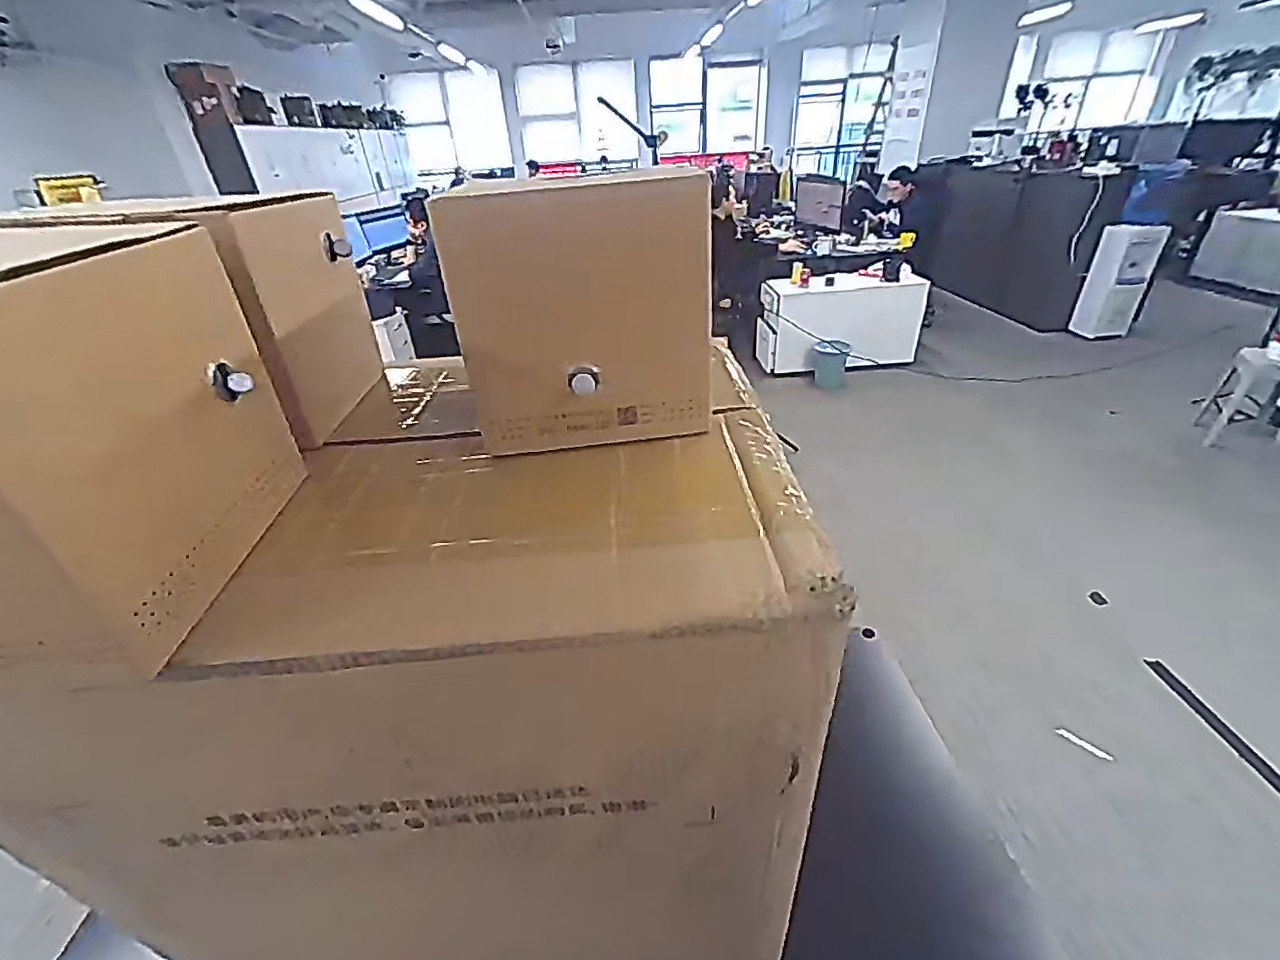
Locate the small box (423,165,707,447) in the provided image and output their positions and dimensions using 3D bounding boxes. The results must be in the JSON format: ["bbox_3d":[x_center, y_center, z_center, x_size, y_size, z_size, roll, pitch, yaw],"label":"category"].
[{"bbox_3d":[-0.046,-0.141,0.421,0.168,0.176,0.179,-7,31,-3],"label":"small box"}]

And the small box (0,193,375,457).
[{"bbox_3d":[-0.340,-0.133,0.440,0.168,0.176,0.179,-5,31,-3],"label":"small box"}]
